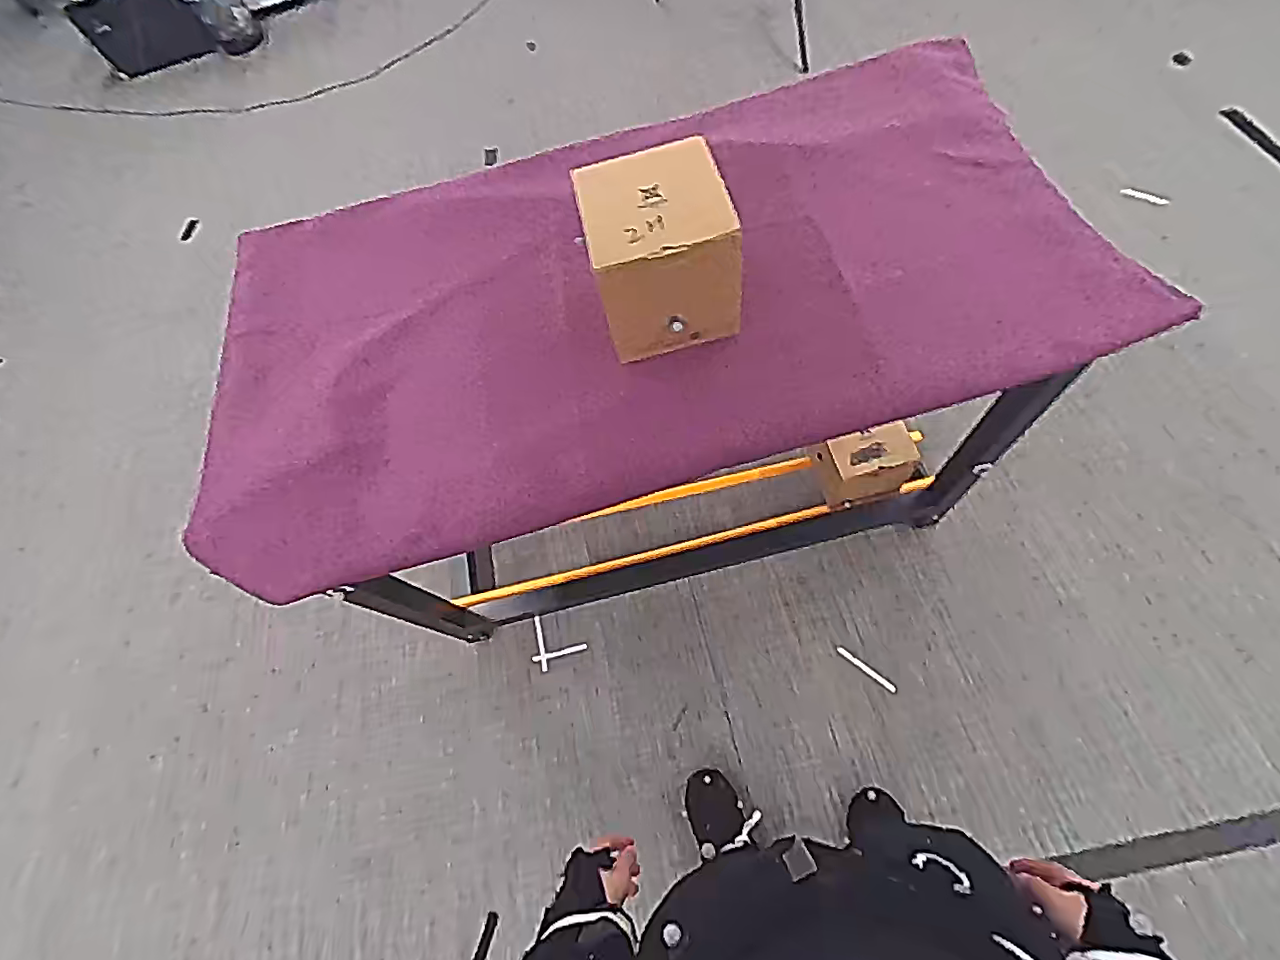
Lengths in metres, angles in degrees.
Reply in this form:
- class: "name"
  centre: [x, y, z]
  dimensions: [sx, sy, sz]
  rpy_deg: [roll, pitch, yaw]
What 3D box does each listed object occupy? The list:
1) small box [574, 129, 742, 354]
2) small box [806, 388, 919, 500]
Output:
- class: "small box"
  centre: [0.024, -0.291, 0.681]
  dimensions: [0.168, 0.176, 0.179]
  rpy_deg: [-14, 64, 3]
- class: "small box"
  centre: [0.477, -0.068, 1.188]
  dimensions: [0.168, 0.176, 0.179]
  rpy_deg: [-15, 64, 3]
